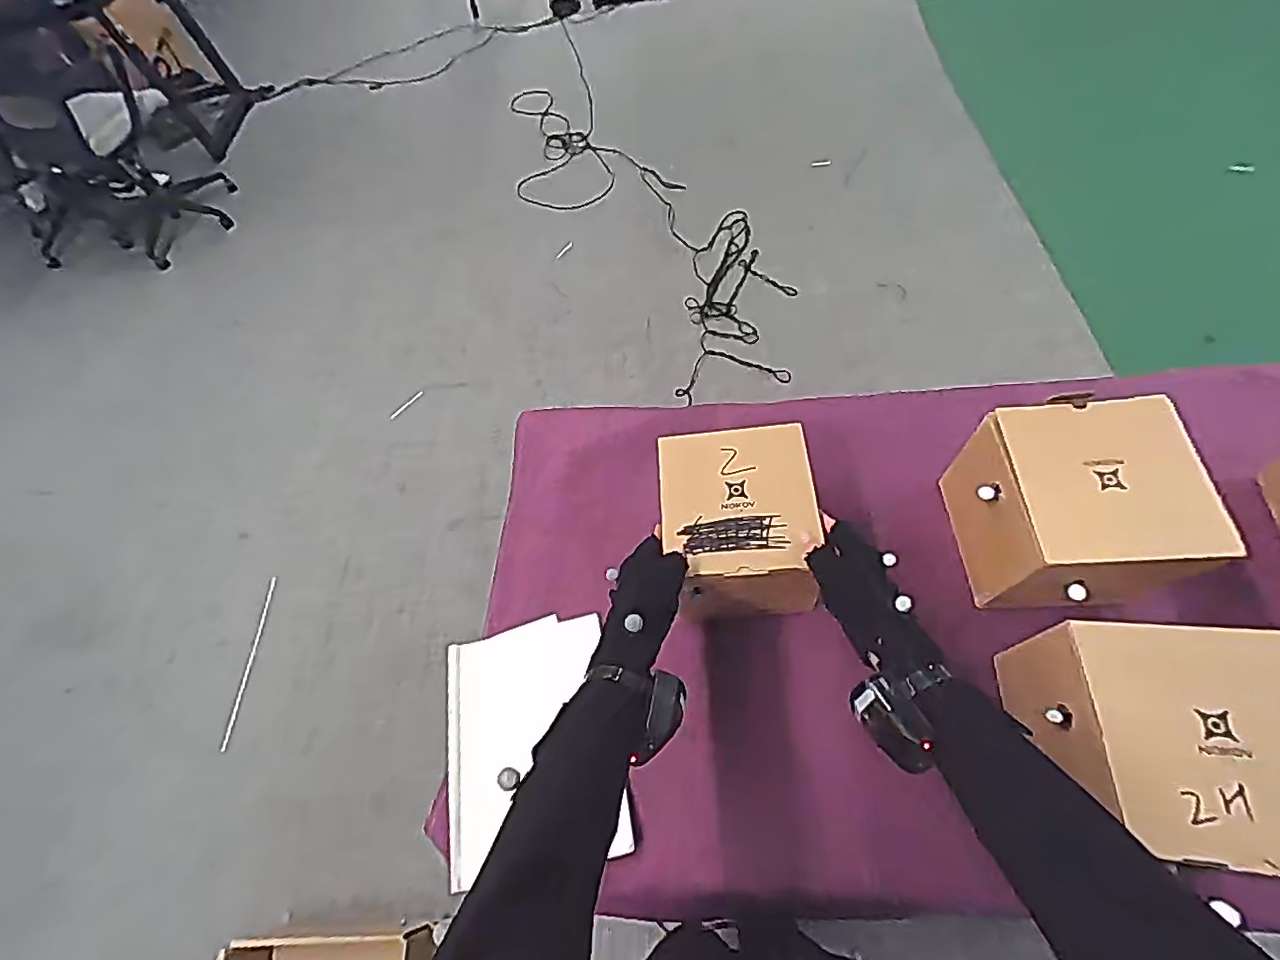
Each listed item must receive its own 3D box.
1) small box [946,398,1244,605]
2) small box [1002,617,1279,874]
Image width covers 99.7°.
[{"bbox_3d":[0.467,0.035,0.596,0.168,0.176,0.179,-4,61,9],"label":"small box"},{"bbox_3d":[0.458,0.235,0.486,0.168,0.176,0.179,1,62,12],"label":"small box"}]
